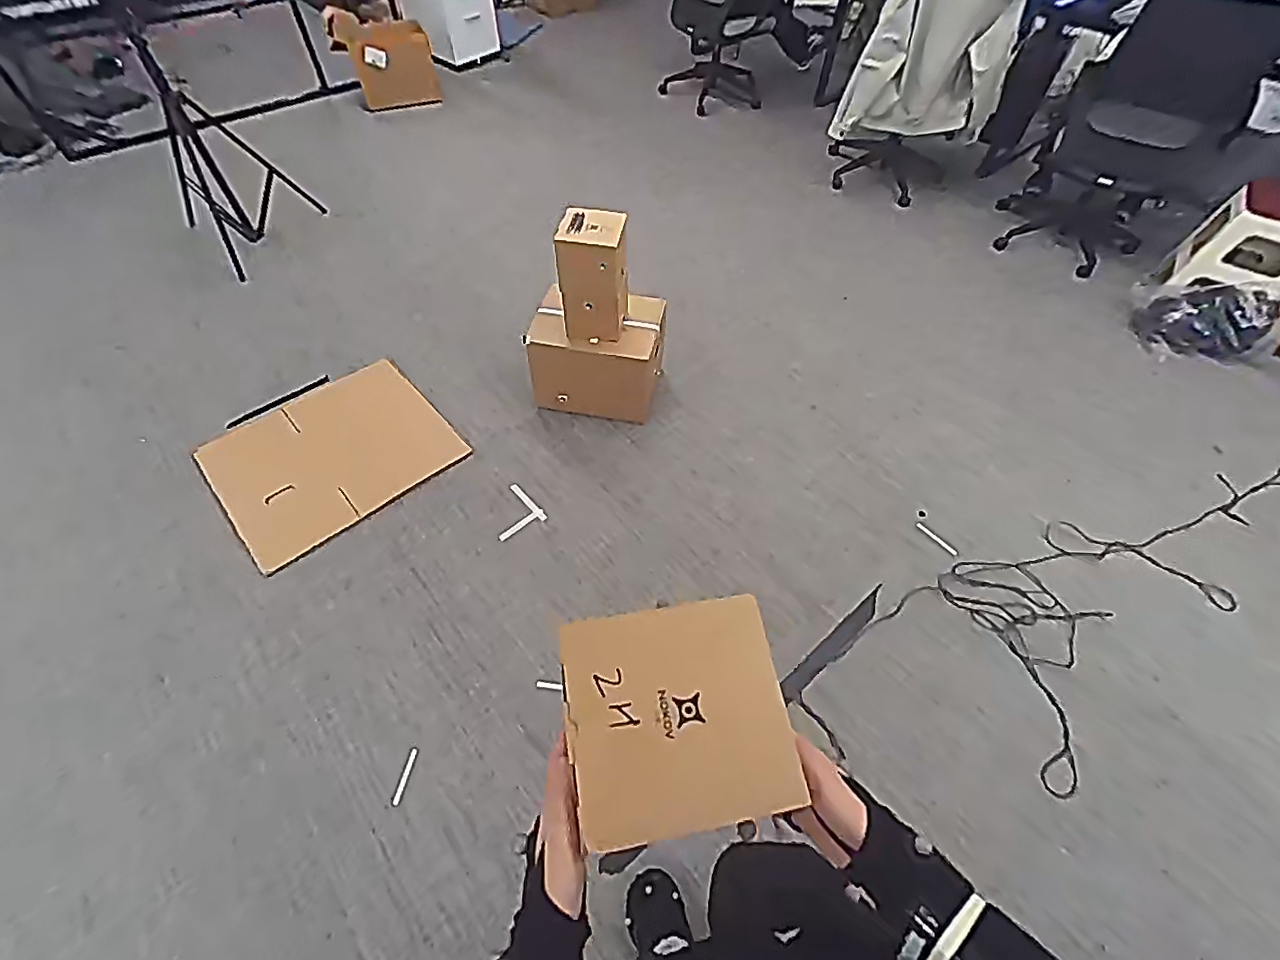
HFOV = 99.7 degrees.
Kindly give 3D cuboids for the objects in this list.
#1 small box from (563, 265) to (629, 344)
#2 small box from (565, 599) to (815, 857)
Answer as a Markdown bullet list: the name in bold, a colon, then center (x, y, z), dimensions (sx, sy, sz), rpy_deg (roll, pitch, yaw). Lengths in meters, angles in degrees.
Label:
- **small box**: center (-0.133, -0.549, 1.699), dimensions (0.179, 0.176, 0.168), rpy_deg (8, 56, 3)
- **small box**: center (0.029, 0.220, 0.498), dimensions (0.179, 0.176, 0.168), rpy_deg (-7, 64, -8)
